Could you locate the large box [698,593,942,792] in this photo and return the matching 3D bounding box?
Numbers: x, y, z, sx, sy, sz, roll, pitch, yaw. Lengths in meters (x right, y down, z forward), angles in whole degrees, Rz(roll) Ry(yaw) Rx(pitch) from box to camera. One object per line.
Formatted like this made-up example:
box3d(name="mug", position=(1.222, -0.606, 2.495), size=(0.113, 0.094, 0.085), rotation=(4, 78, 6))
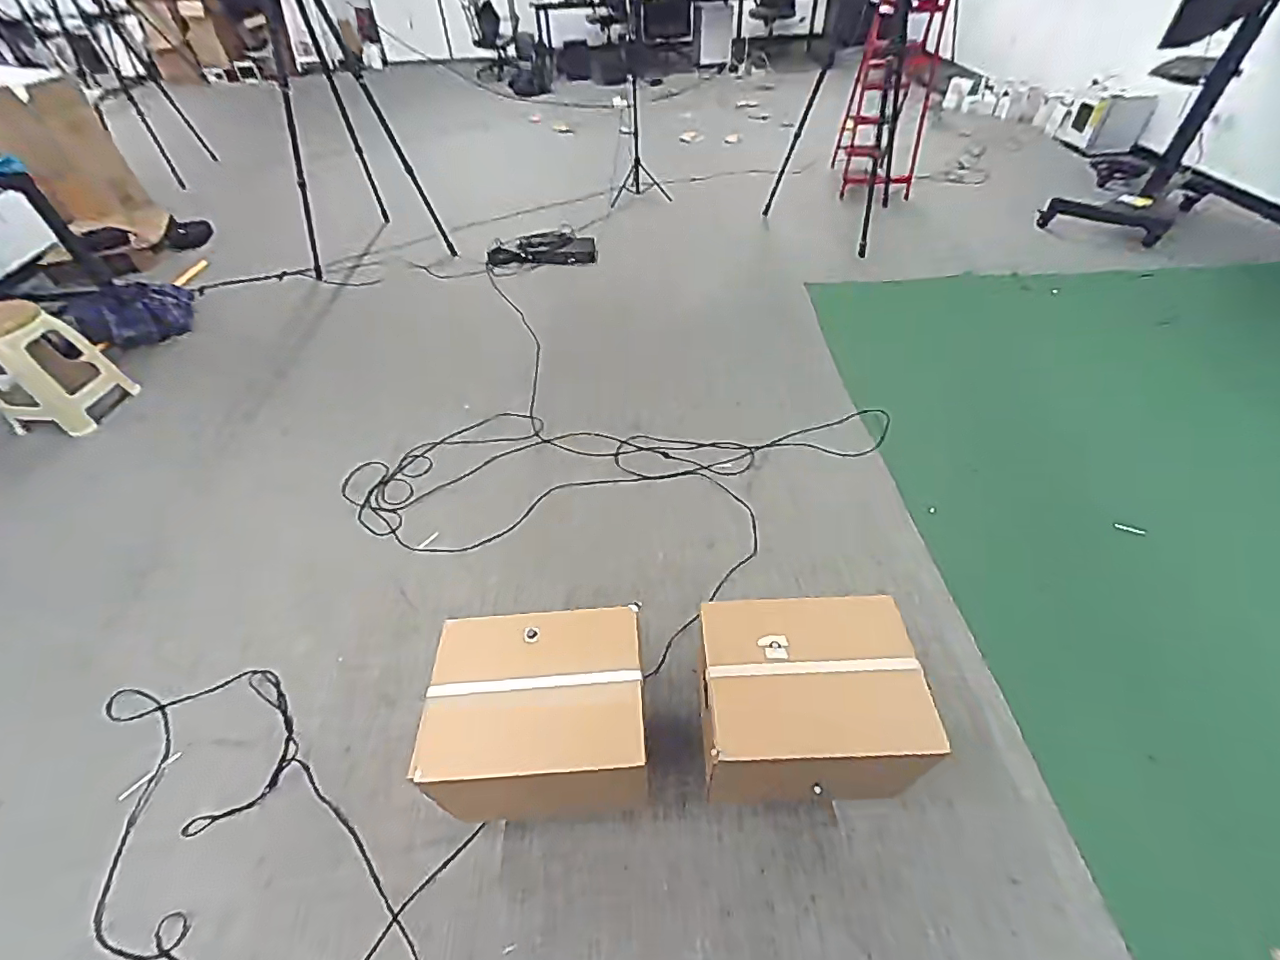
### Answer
box3d(name="large box", position=(0.341, 0.461, 1.160), size=(0.408, 0.320, 0.320), rotation=(-2, 47, 1))
